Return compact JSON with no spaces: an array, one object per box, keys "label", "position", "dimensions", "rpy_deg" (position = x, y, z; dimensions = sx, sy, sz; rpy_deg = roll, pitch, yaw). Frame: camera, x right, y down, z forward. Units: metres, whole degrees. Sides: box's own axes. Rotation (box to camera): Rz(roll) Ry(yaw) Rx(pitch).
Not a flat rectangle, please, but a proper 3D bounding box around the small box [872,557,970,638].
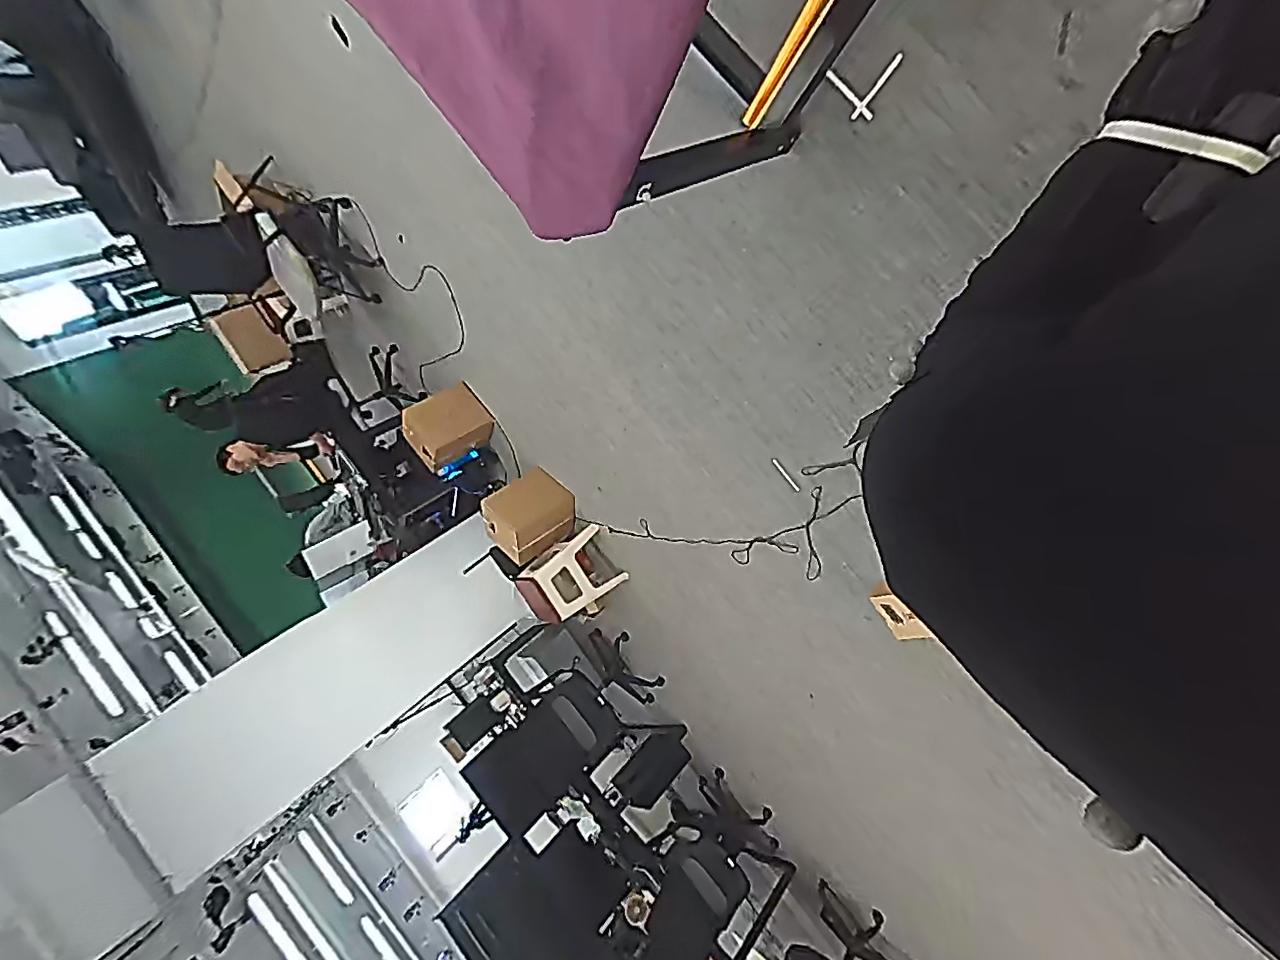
[{"label":"small box","position":[0.843,0.353,1.620],"dimensions":[0.168,0.176,0.179],"rpy_deg":[54,146,-3]}]
